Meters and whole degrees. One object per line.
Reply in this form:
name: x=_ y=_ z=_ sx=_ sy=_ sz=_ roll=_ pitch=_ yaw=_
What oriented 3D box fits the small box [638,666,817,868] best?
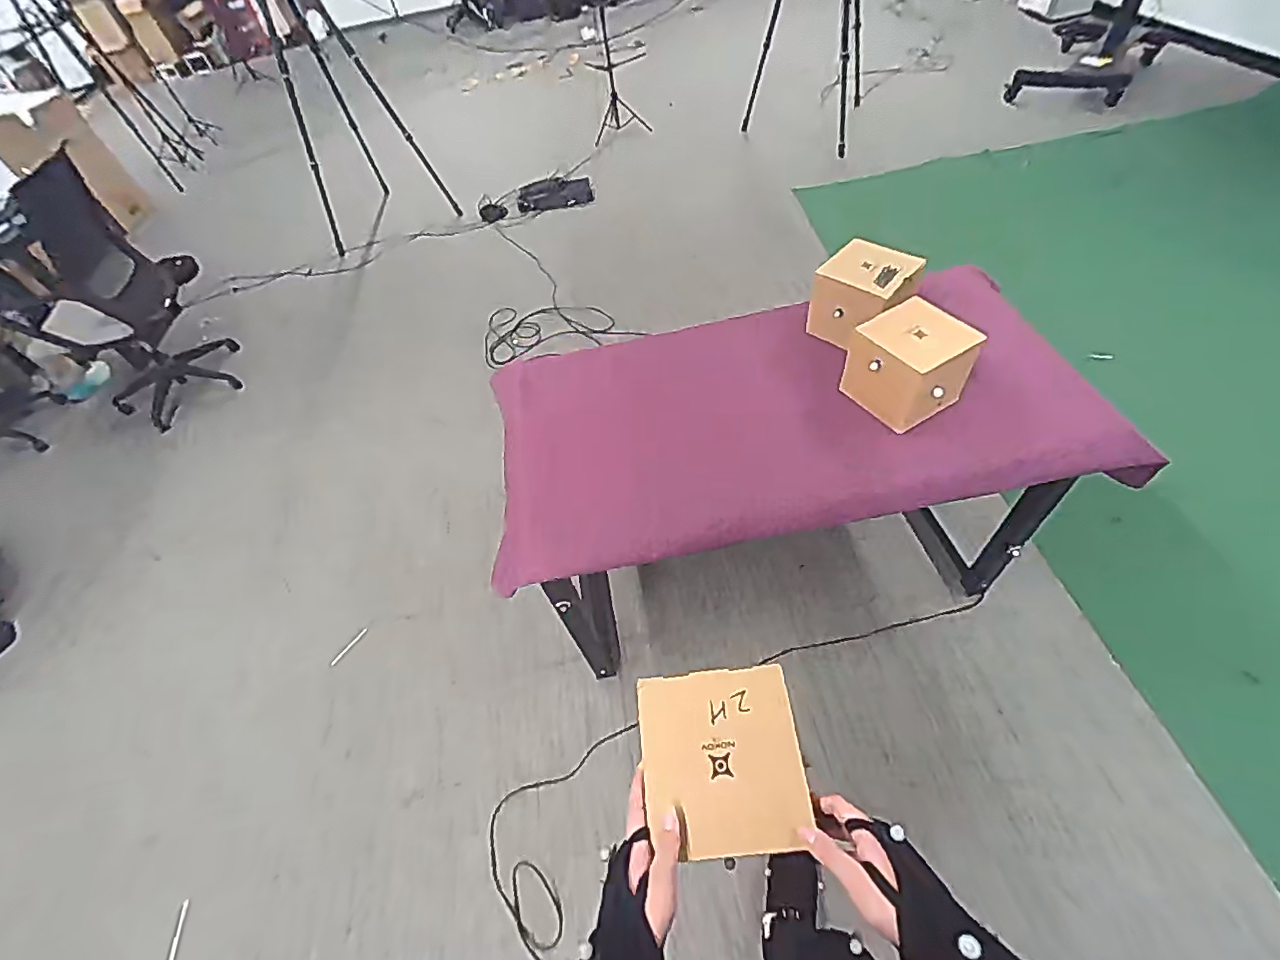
small box: x=0.093 y=0.328 z=0.623 sx=0.168 sy=0.176 sz=0.179 roll=-7 pitch=58 yaw=4

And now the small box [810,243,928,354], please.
small box: x=0.513 y=-0.403 z=1.236 sx=0.168 sy=0.176 sz=0.179 roll=-41 pitch=57 yaw=-21

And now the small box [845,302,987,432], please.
small box: x=0.545 y=-0.220 z=1.094 sx=0.168 sy=0.176 sz=0.179 roll=-28 pitch=53 yaw=-12
